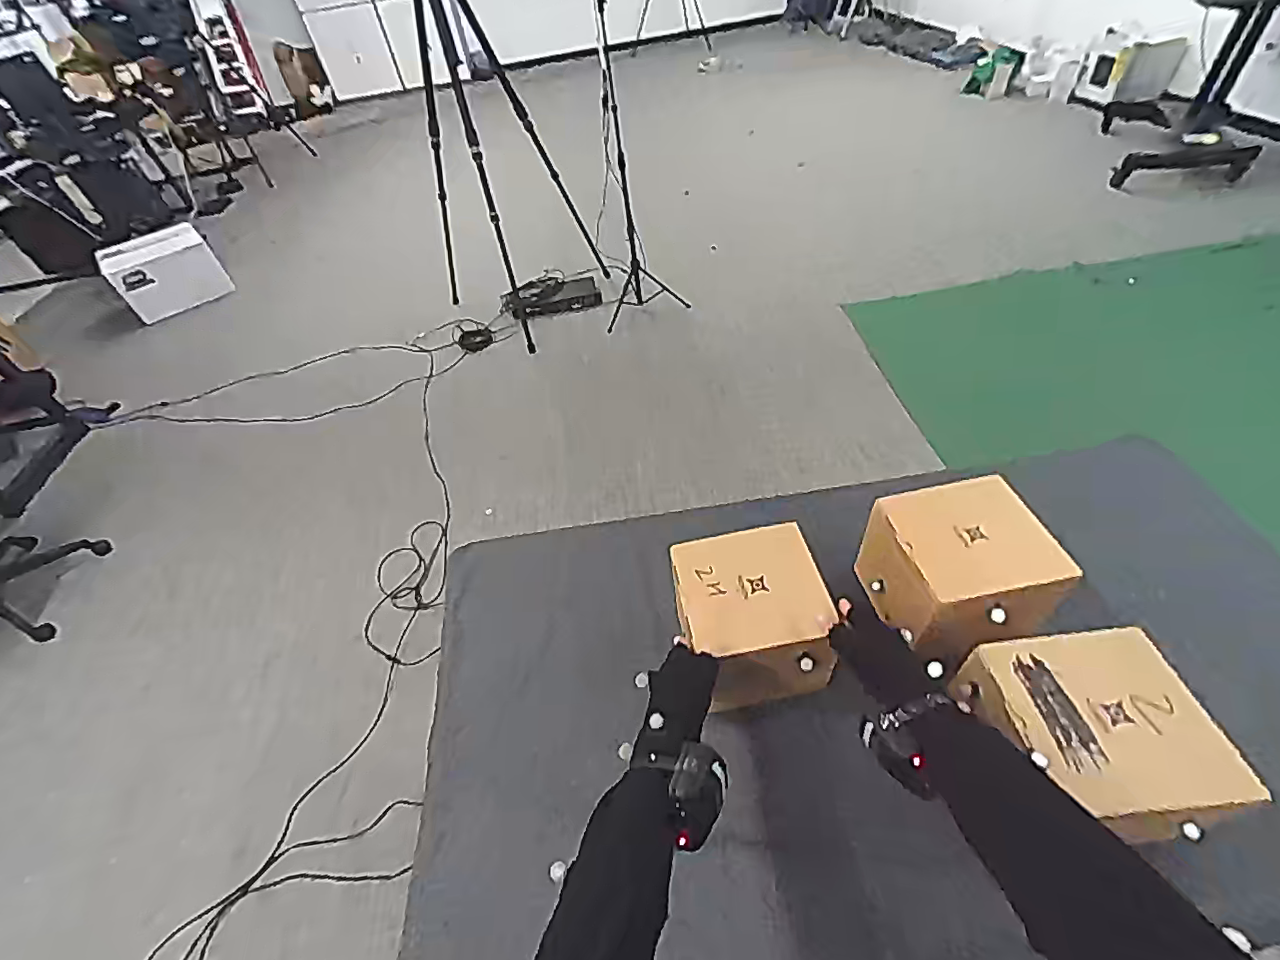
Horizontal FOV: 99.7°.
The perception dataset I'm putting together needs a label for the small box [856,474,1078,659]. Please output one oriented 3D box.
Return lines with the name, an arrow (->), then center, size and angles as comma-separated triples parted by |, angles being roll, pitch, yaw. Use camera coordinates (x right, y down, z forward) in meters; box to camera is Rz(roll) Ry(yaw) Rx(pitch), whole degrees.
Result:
small box -> 0.419, 0.119, 0.733 | 0.179, 0.176, 0.168 | -12, 47, -1
